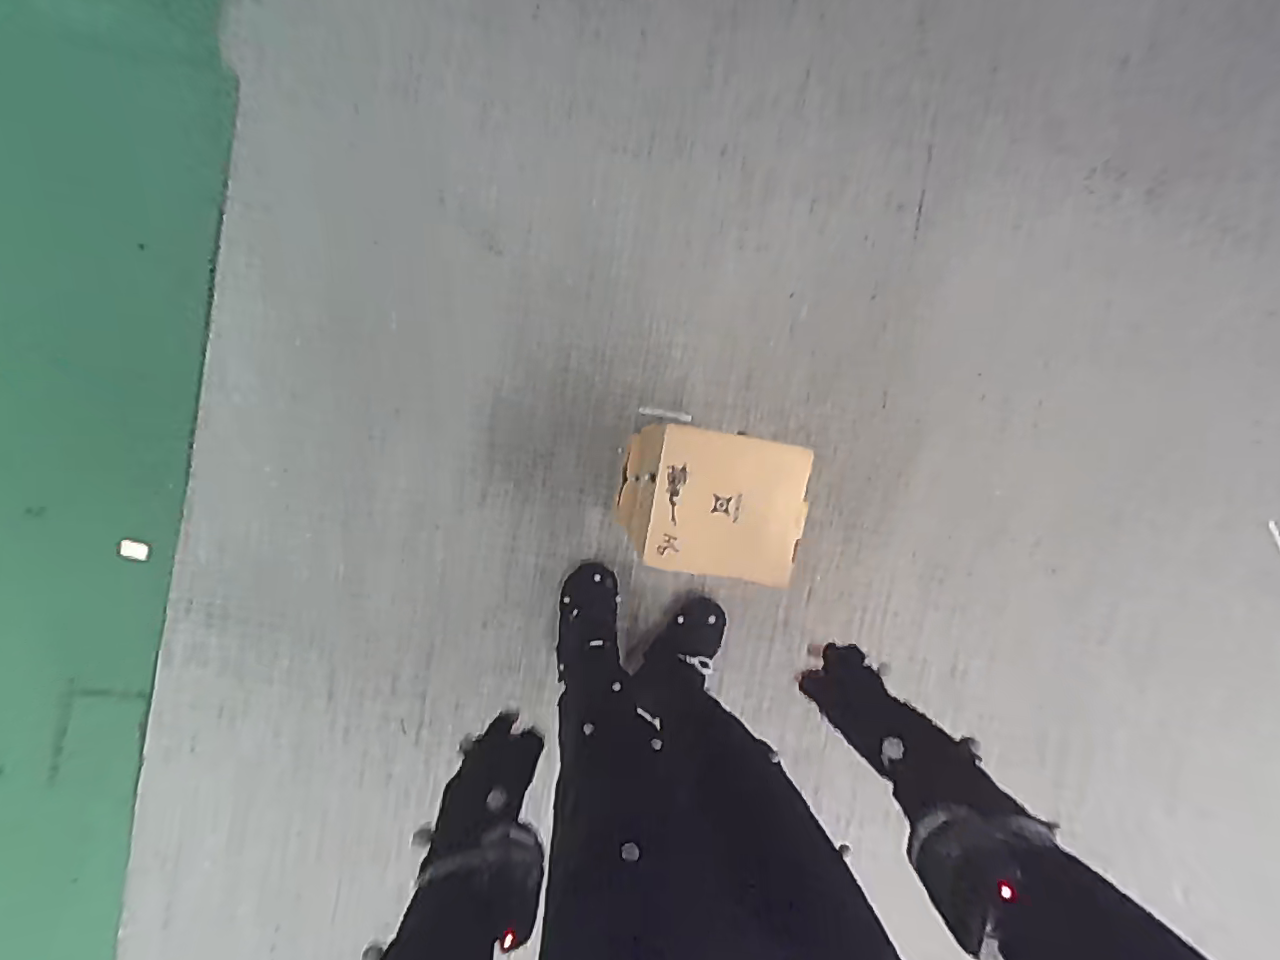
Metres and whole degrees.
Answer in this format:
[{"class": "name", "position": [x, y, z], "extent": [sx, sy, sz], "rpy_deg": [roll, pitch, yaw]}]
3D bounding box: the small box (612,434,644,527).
[{"class": "small box", "position": [0.047, 0.015, 1.027], "extent": [0.179, 0.176, 0.168], "rpy_deg": [12, 91, -6]}]

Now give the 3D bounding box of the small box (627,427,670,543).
[{"class": "small box", "position": [0.074, 0.018, 0.868], "extent": [0.168, 0.176, 0.179], "rpy_deg": [10, 92, -4]}]

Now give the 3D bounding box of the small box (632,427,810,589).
[{"class": "small box", "position": [0.093, 0.030, 0.706], "extent": [0.179, 0.176, 0.168], "rpy_deg": [10, 91, -5]}]
